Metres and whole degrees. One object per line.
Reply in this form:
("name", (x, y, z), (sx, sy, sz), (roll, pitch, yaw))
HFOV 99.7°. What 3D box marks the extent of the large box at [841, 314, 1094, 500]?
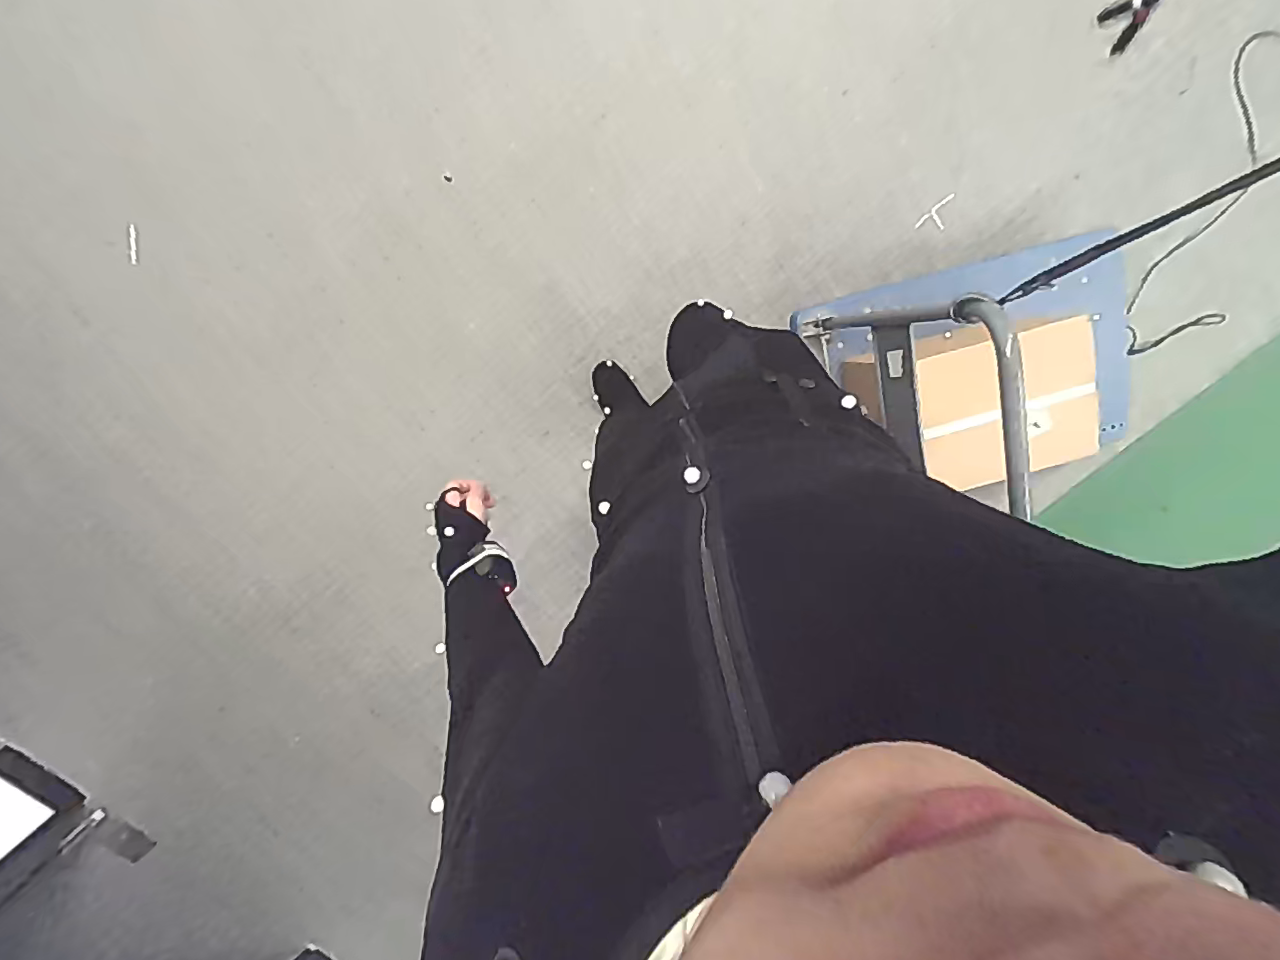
("large box", (0.759, -0.181, 1.297), (0.408, 0.320, 0.320), (-15, 104, -1))
